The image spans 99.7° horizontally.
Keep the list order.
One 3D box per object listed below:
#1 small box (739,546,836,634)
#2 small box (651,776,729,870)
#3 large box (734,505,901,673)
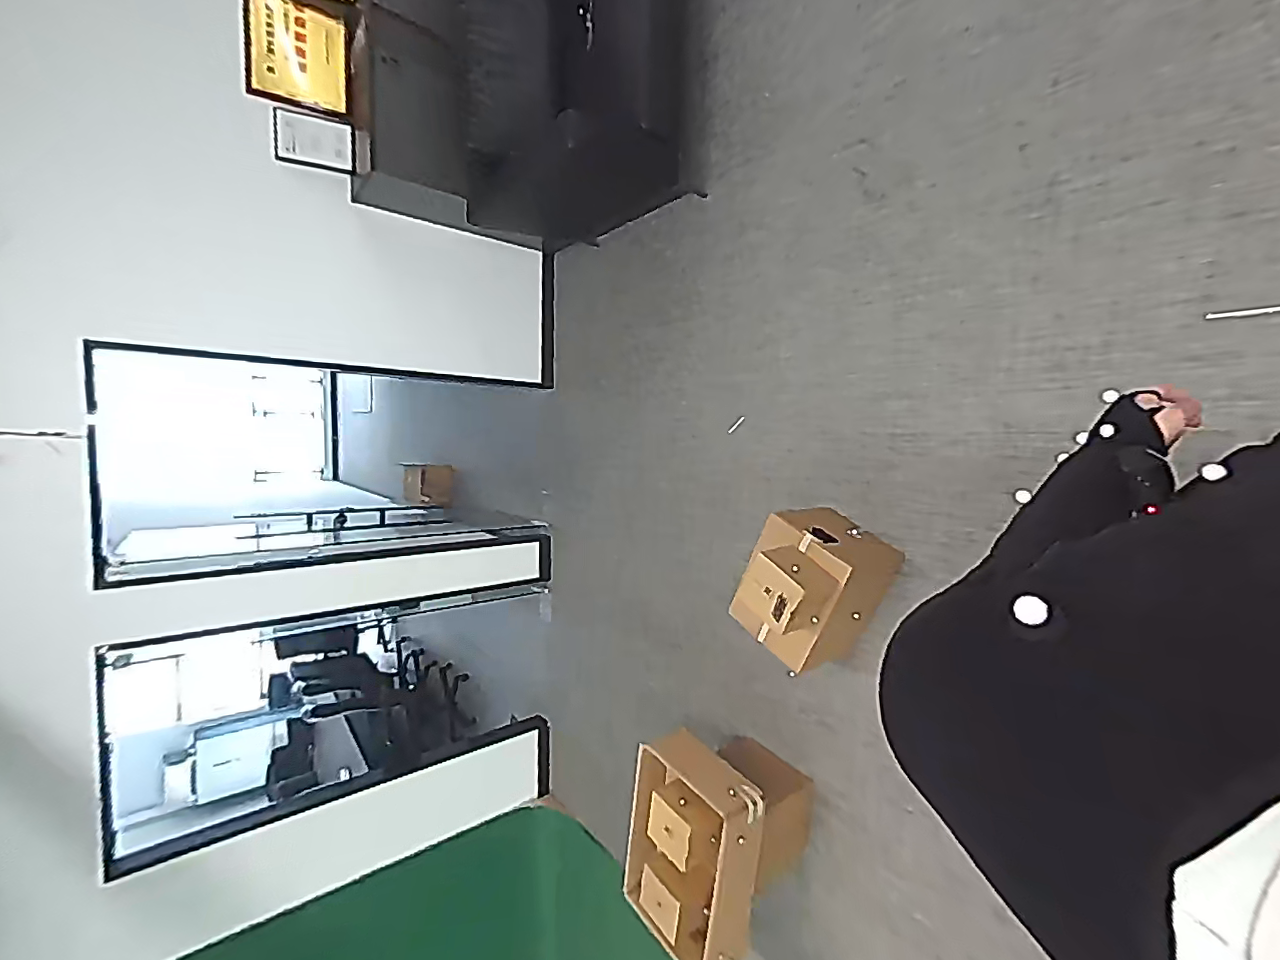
[{"bbox_3d":[0.424,0.306,1.548,0.179,0.176,0.168,42,123,40],"label":"small box"},{"bbox_3d":[0.160,1.091,1.742,0.179,0.176,0.168,18,105,48],"label":"small box"},{"bbox_3d":[0.570,0.334,1.760,0.320,0.320,0.408,39,122,43],"label":"large box"}]
